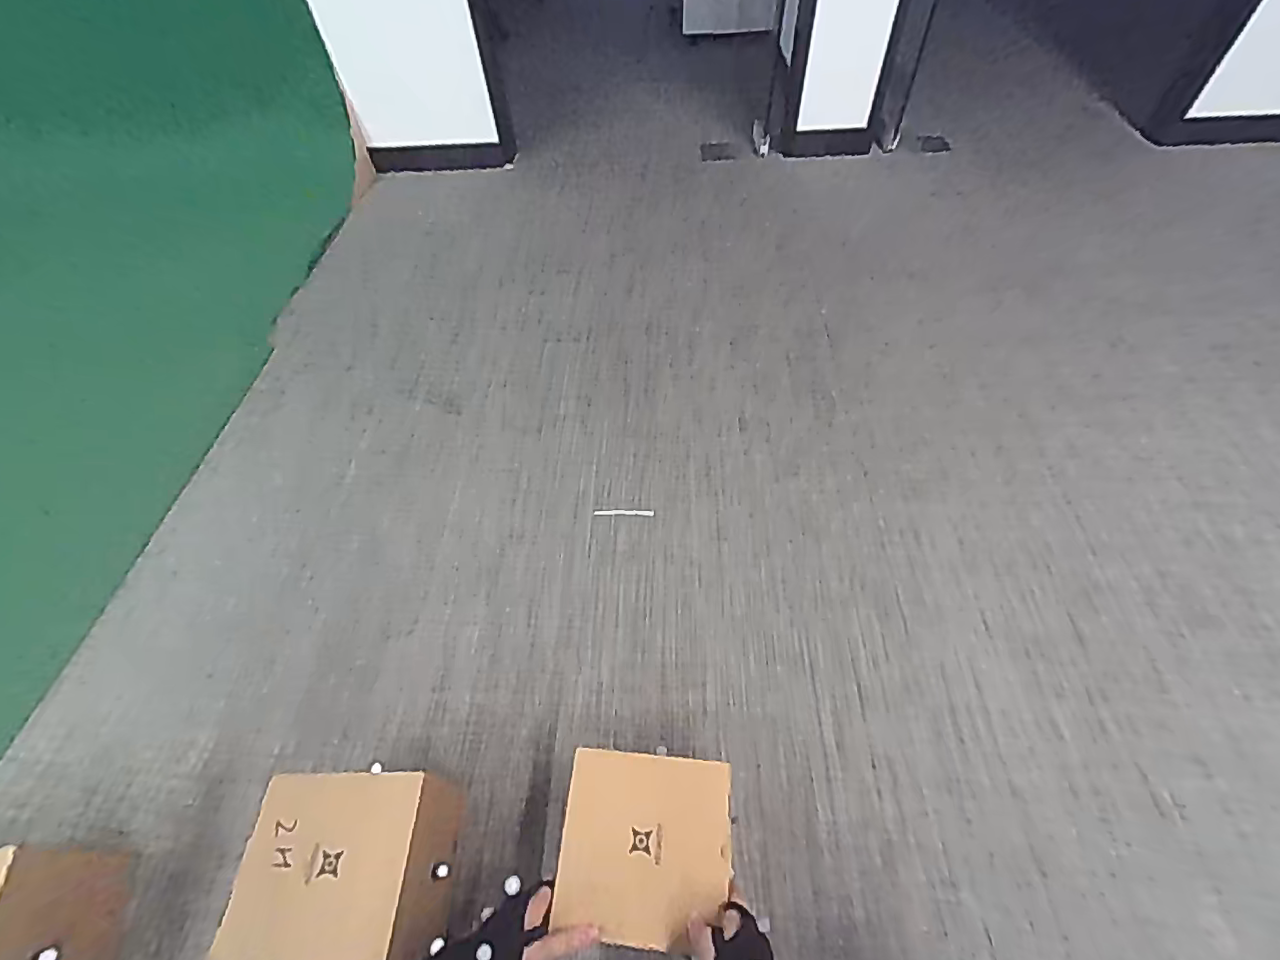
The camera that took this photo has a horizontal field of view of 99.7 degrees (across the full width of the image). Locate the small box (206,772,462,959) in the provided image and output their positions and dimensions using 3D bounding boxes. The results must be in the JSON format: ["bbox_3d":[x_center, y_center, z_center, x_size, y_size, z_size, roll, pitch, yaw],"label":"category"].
[{"bbox_3d":[-0.322,0.440,0.618,0.179,0.176,0.168,-1,52,2],"label":"small box"}]

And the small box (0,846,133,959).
[{"bbox_3d":[-0.710,0.520,0.581,0.168,0.176,0.179,-14,54,-7],"label":"small box"}]

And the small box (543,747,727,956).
[{"bbox_3d":[0.004,0.421,0.618,0.179,0.176,0.168,4,53,5],"label":"small box"}]
